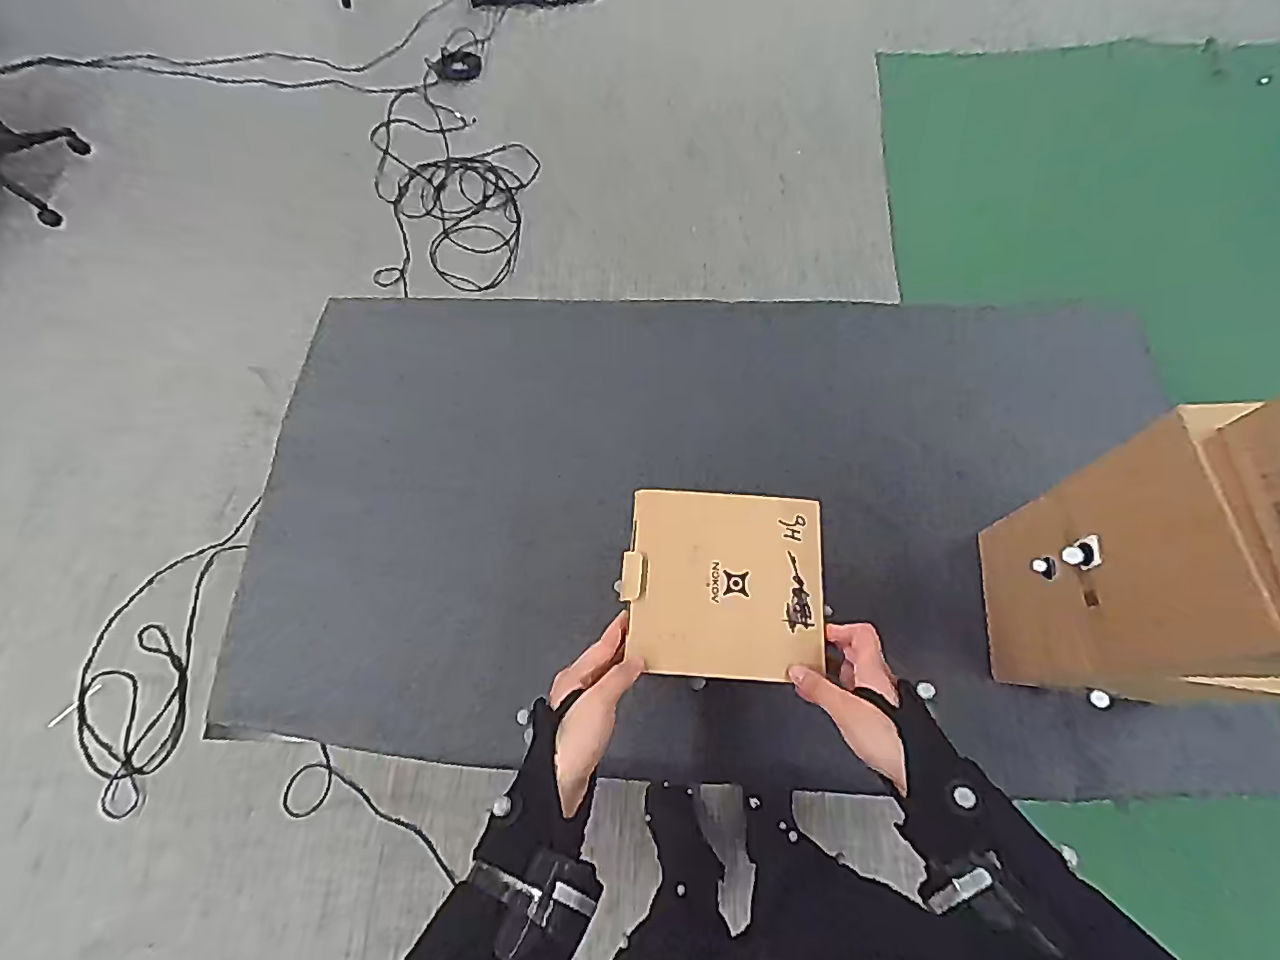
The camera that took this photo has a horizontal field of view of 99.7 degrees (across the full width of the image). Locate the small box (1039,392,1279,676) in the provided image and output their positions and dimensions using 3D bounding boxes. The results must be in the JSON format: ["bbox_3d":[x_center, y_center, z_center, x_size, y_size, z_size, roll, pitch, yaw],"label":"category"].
[{"bbox_3d":[0.449,0.049,0.396,0.179,0.176,0.168,-2,66,6],"label":"small box"}]

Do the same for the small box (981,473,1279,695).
[{"bbox_3d":[0.472,0.111,0.544,0.168,0.176,0.179,6,69,7],"label":"small box"}]

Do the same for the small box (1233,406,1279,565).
[{"bbox_3d":[0.448,0.005,0.235,0.179,0.176,0.168,3,66,6],"label":"small box"}]
